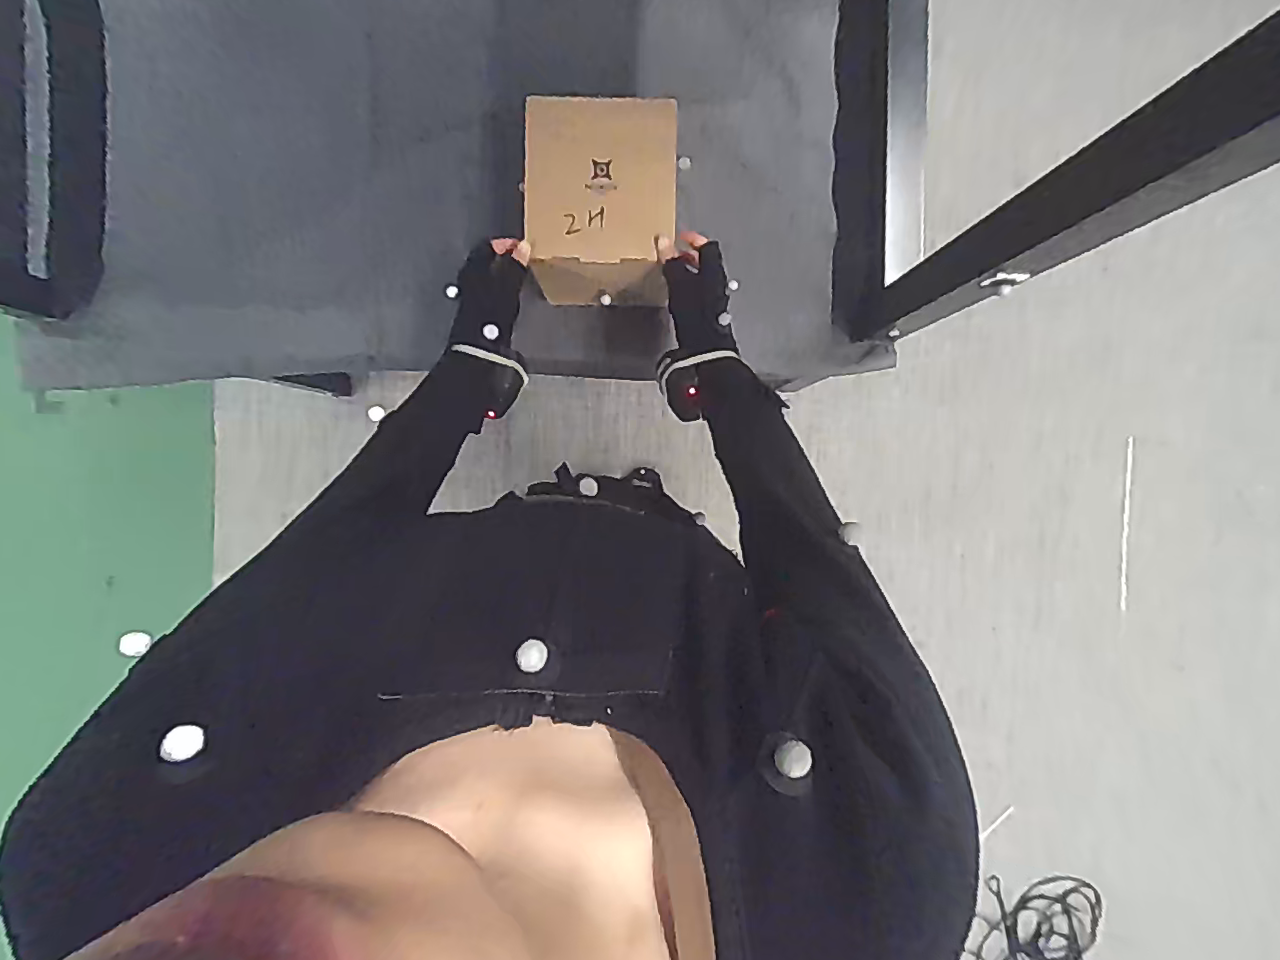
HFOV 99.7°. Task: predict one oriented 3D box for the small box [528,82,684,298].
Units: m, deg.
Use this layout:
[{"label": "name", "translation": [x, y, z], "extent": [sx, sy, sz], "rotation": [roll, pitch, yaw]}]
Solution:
[{"label": "small box", "translation": [-0.038, -0.338, 0.658], "extent": [0.168, 0.176, 0.179], "rotation": [1, 91, 0]}]
